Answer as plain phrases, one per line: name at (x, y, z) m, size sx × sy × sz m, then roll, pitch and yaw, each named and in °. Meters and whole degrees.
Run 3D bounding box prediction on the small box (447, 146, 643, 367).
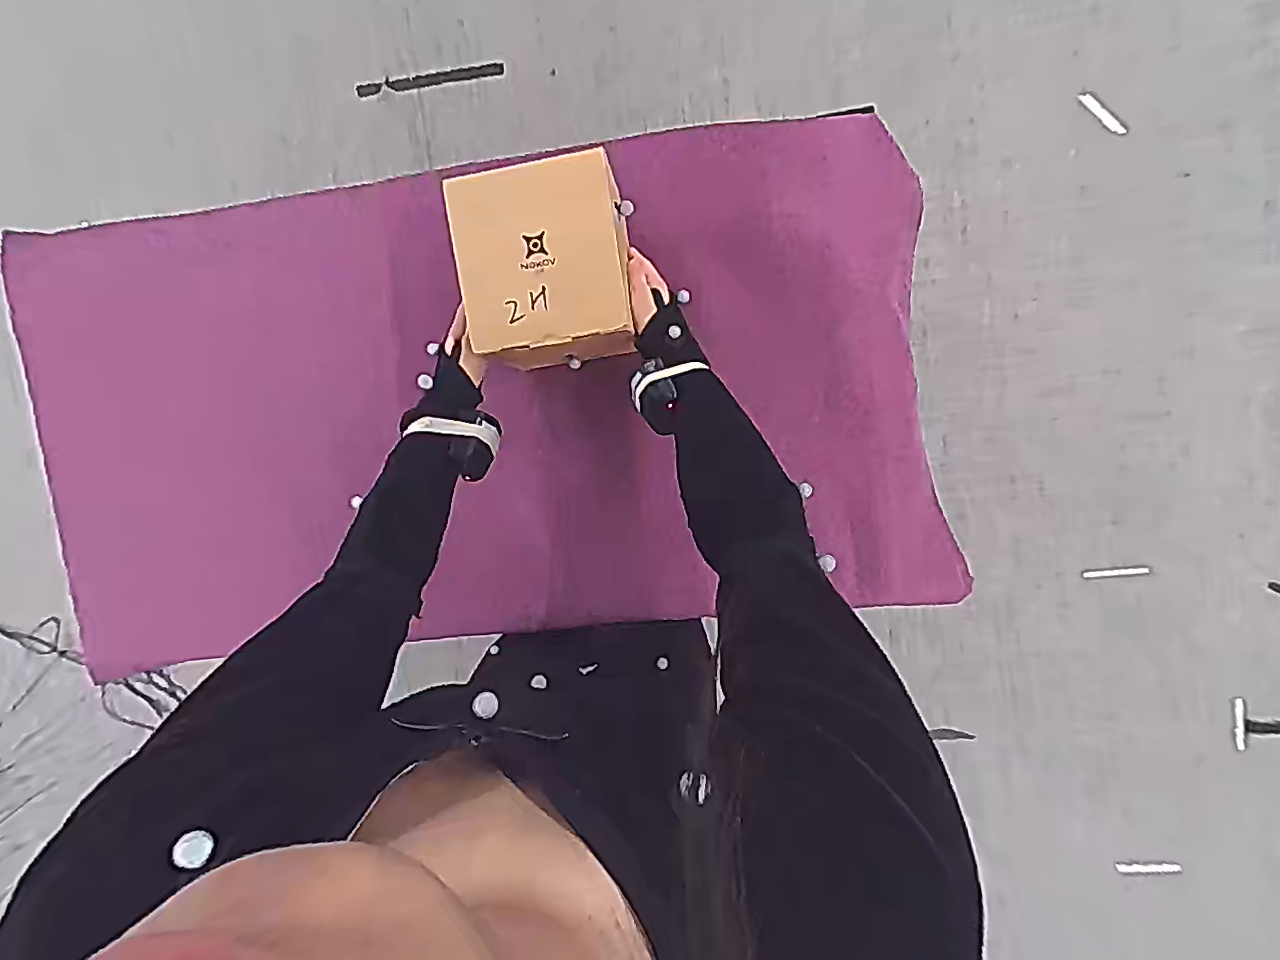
small box at (-0.094, -0.234, 0.613) m, size 0.168 × 0.176 × 0.179 m, roll -8°, pitch 96°, yaw 6°
